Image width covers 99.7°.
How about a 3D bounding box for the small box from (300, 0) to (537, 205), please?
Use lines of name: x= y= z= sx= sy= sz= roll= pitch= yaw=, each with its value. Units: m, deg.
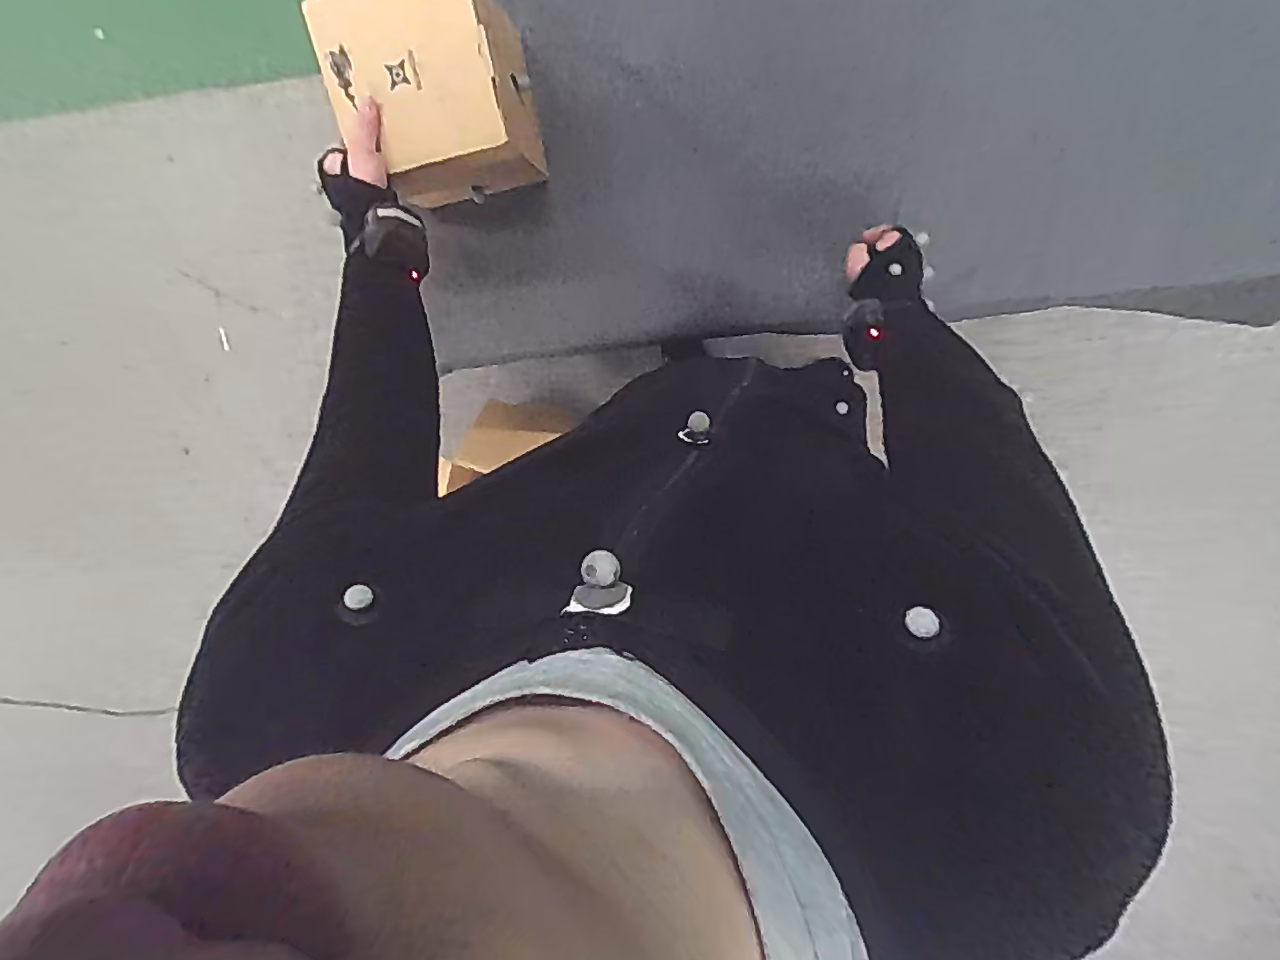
small box: x=-0.226 y=-0.428 z=0.612 sx=0.179 sy=0.176 sz=0.168 roll=-9 pitch=106 yaw=8
